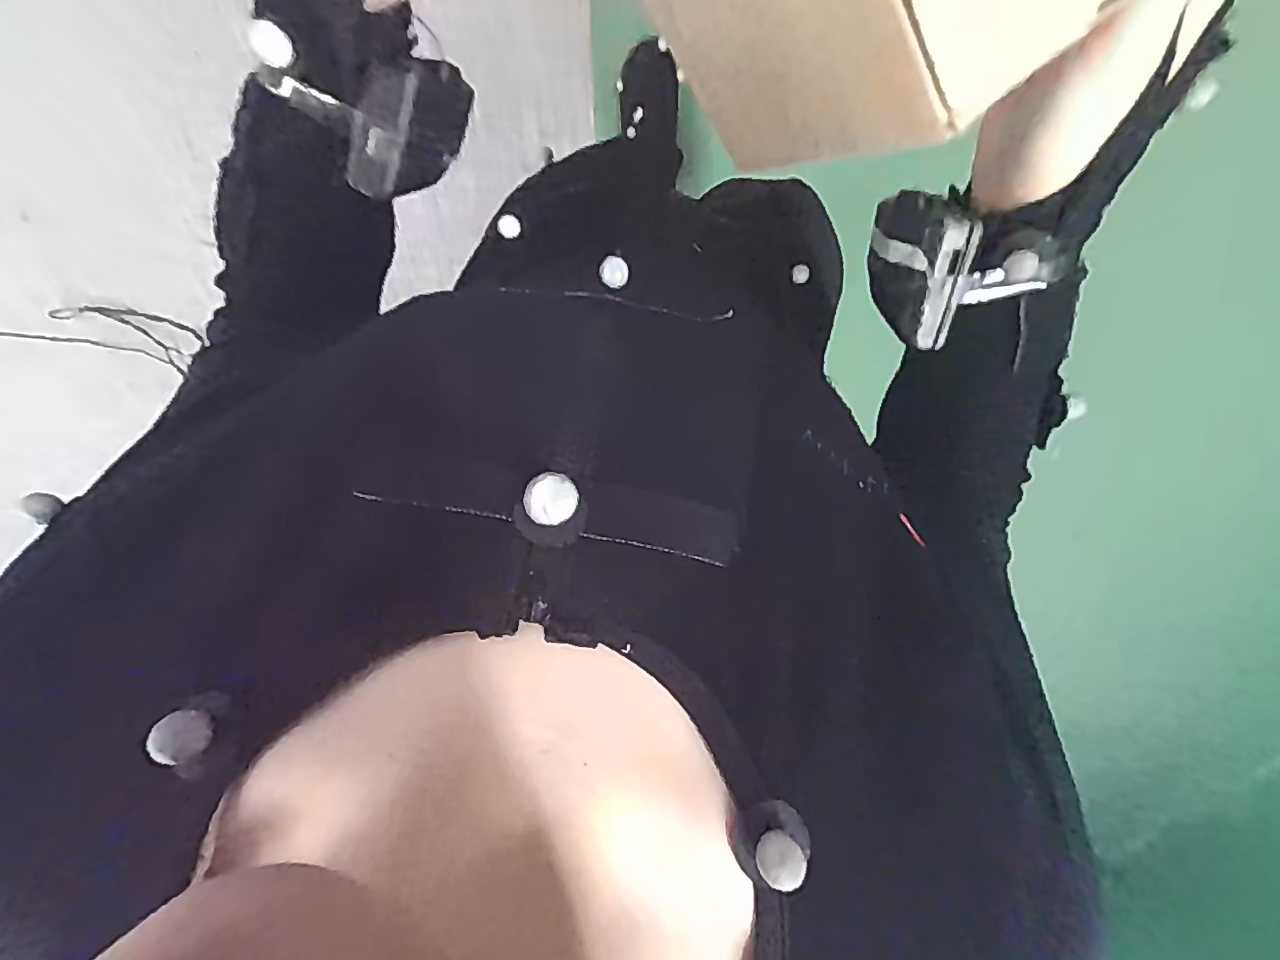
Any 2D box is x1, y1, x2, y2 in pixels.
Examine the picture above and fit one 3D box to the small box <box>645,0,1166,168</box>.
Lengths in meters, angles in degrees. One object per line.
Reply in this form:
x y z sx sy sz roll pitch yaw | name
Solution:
0.075 -0.213 0.141 0.168 0.176 0.179 -34 115 11 | small box
